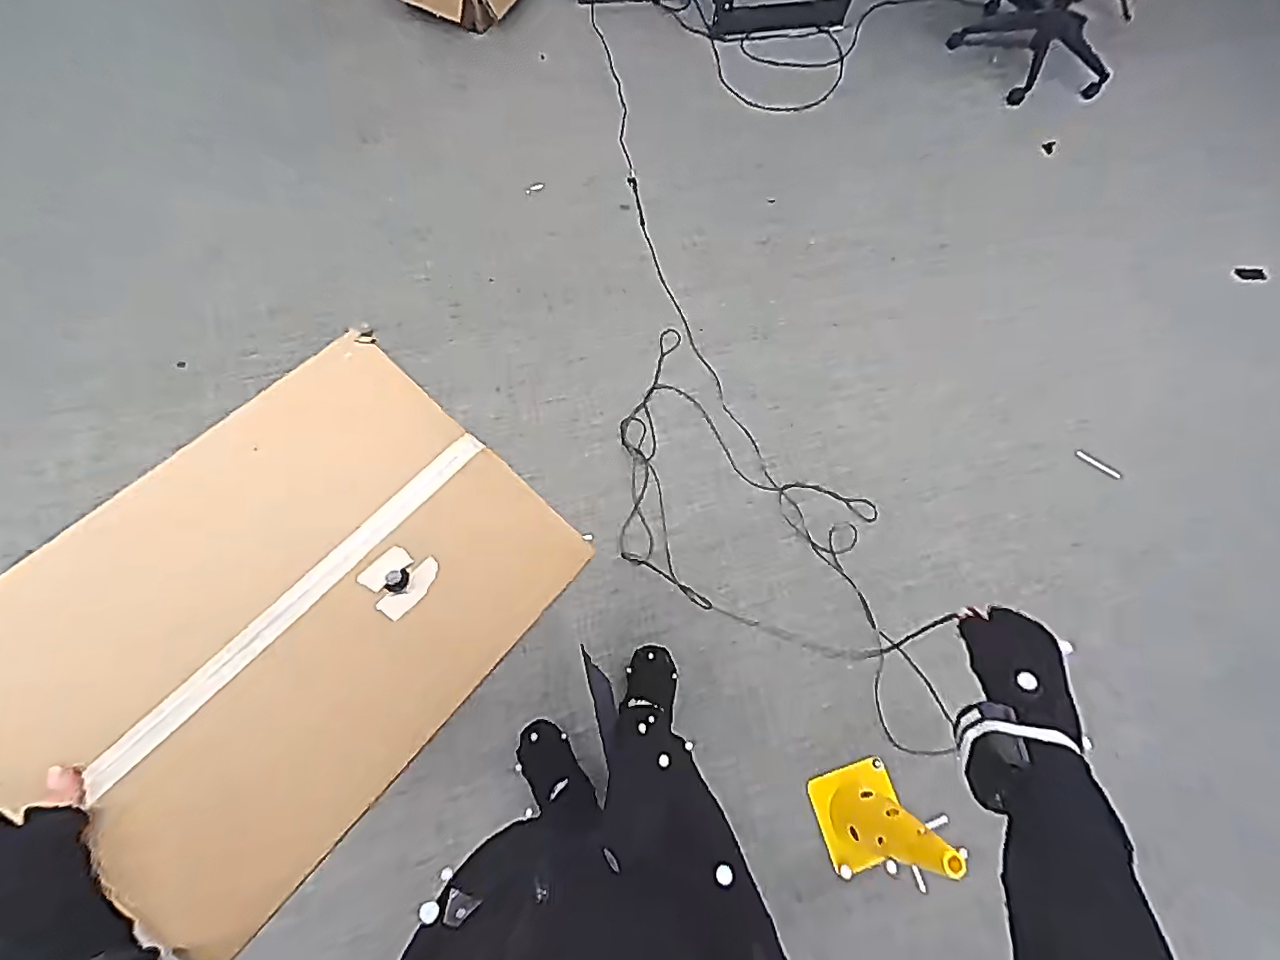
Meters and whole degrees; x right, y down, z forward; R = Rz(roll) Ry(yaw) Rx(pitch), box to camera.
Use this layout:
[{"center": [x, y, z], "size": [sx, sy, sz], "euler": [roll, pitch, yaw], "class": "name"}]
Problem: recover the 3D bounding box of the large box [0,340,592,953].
[{"center": [-0.317, 0.140, 0.589], "size": [0.320, 0.320, 0.408], "euler": [44, 68, -1], "class": "large box"}]
